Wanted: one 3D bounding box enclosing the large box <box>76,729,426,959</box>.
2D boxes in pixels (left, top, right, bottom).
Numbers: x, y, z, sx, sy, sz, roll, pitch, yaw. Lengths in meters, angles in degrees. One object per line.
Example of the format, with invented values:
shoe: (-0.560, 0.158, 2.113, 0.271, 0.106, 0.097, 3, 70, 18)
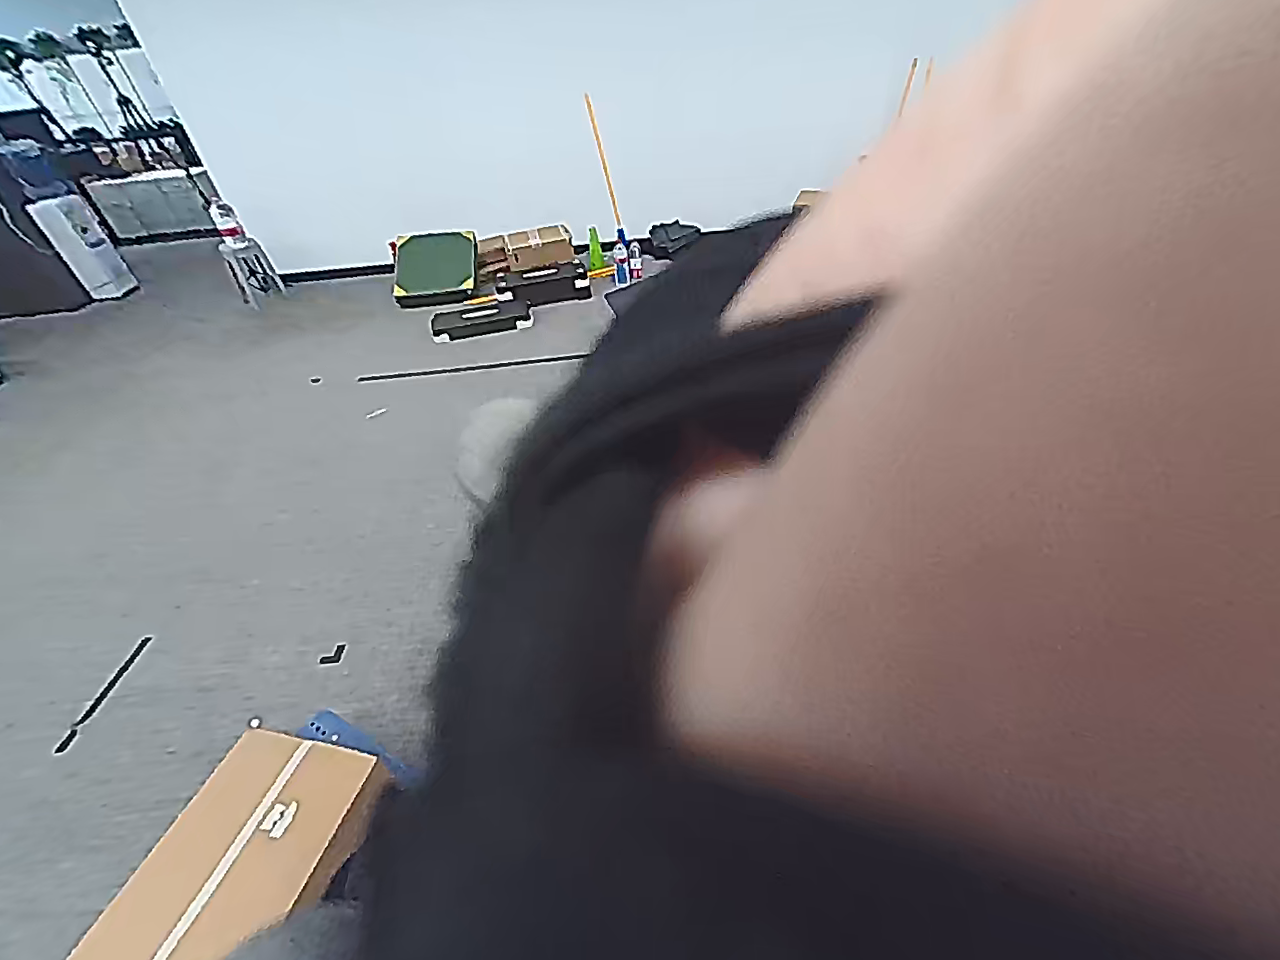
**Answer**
large box: (-0.689, 0.771, 1.040, 0.320, 0.320, 0.408, 6, 41, 13)
